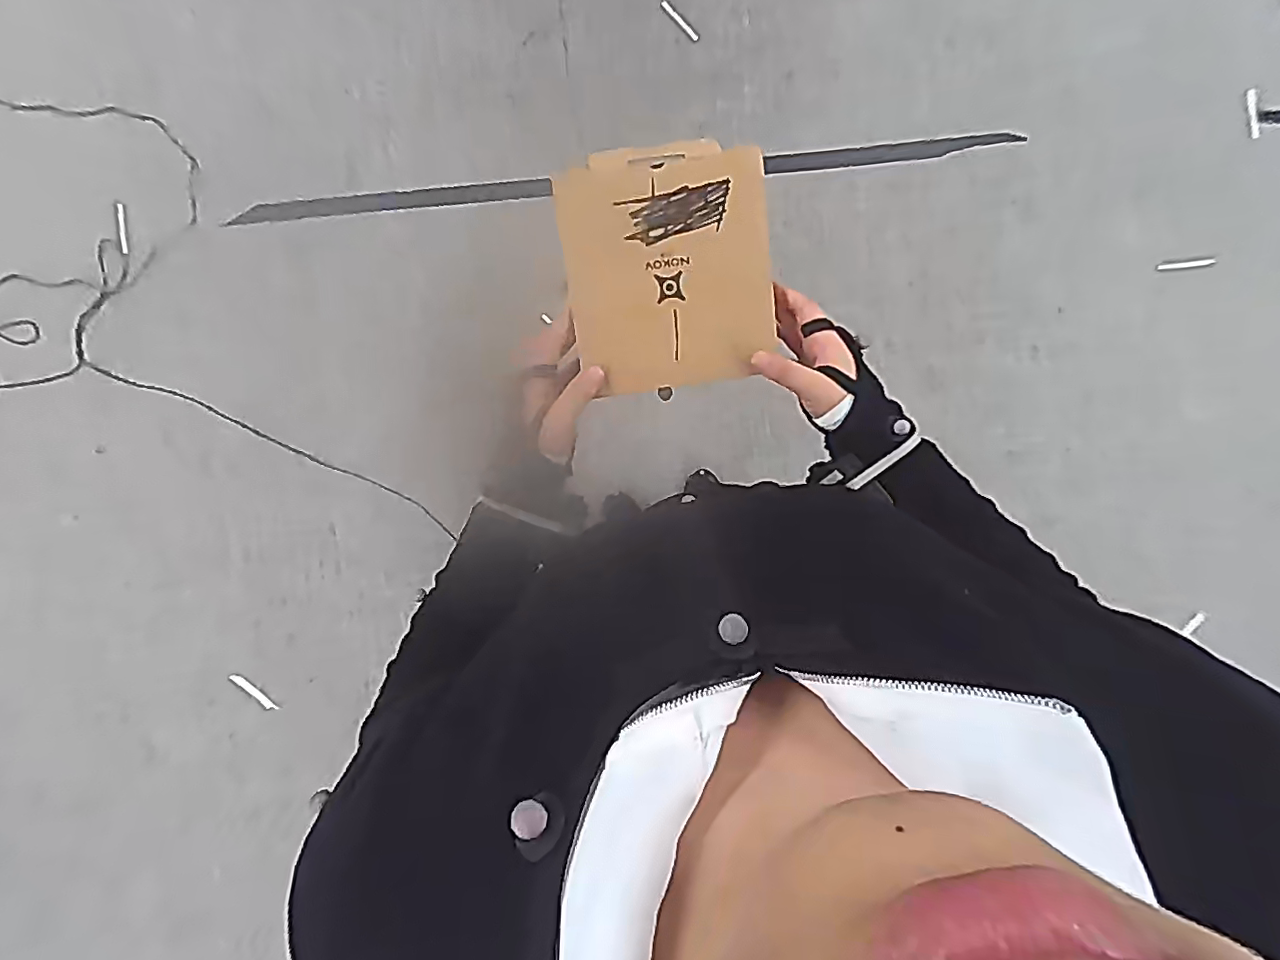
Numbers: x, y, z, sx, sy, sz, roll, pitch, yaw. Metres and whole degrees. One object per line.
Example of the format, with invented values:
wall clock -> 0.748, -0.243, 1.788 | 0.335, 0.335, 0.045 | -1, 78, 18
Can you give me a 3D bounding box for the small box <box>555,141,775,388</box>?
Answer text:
small box -> 0.019, -0.185, 0.514 | 0.168, 0.176, 0.179 | -8, 102, 0
